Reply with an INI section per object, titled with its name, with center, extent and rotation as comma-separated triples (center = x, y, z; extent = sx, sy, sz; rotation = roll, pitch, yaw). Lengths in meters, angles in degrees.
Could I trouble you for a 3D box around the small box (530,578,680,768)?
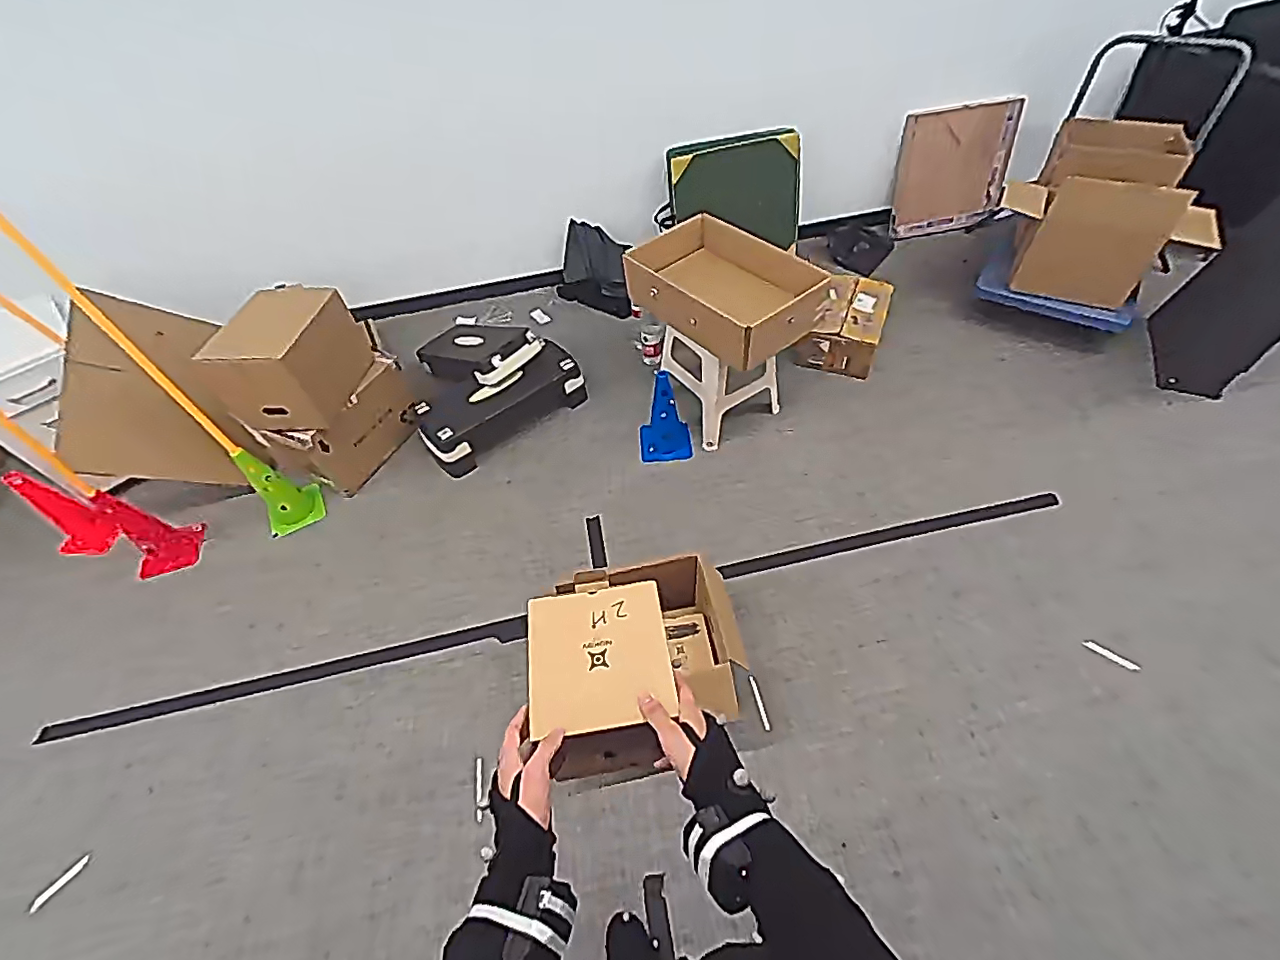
[small box]
center = -0.042, 0.251, 0.691
extent = 0.168, 0.176, 0.179
rotation = -7, 48, -4
